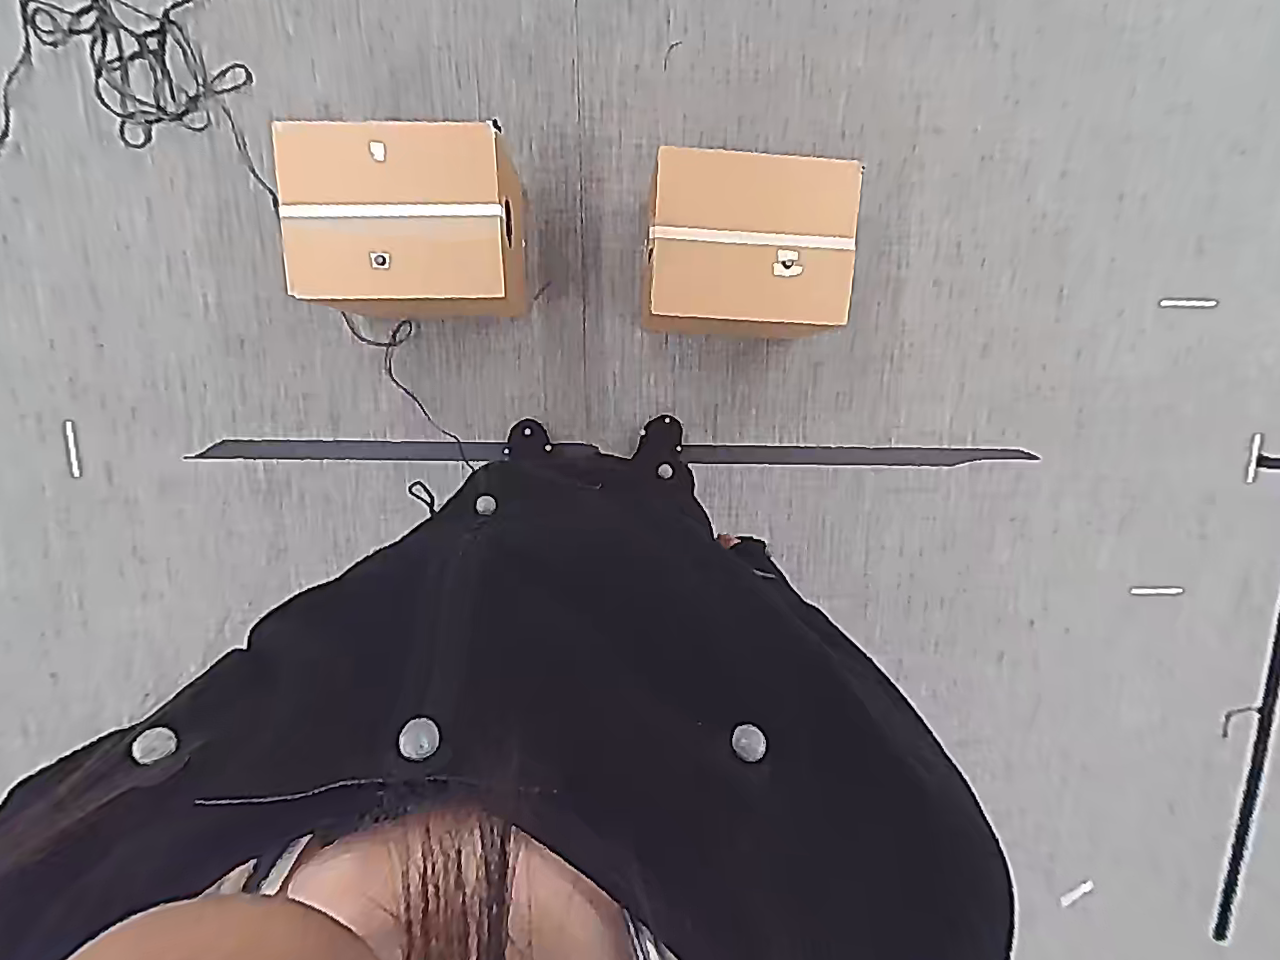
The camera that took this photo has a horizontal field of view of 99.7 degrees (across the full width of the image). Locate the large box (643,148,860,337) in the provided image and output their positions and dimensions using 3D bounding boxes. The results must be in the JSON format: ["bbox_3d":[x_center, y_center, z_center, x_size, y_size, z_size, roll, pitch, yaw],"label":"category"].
[{"bbox_3d":[0.219,-0.503,1.218,0.408,0.320,0.320,2,99,-5],"label":"large box"}]
